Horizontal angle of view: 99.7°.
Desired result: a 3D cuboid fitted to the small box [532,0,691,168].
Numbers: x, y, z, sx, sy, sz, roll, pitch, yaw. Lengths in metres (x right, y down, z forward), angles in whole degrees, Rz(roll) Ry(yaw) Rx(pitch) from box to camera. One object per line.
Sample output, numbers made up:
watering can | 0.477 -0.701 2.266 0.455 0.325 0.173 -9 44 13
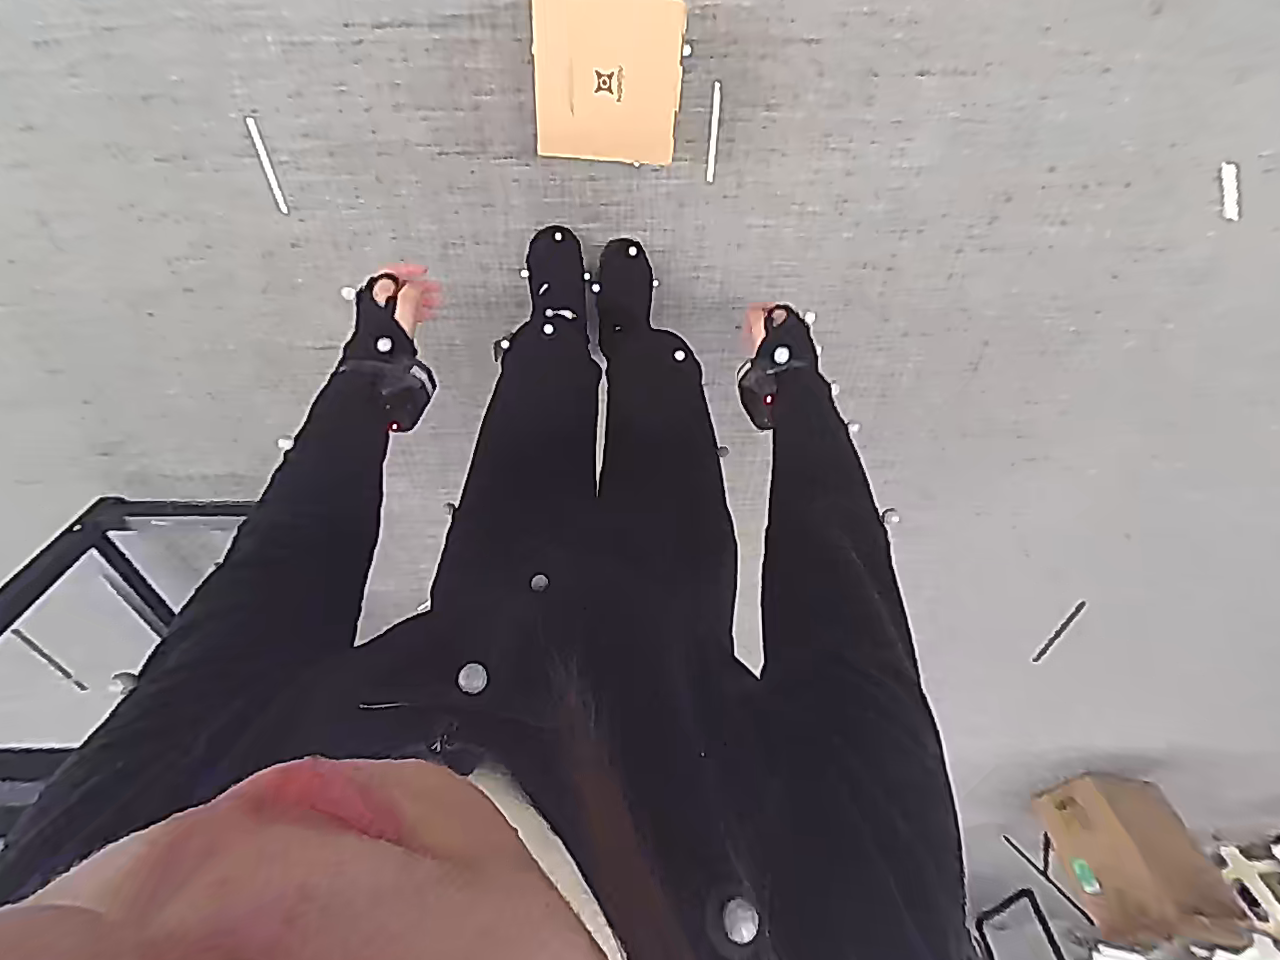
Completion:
small box | -0.039 -0.517 0.692 0.179 0.176 0.168 3 130 -4
